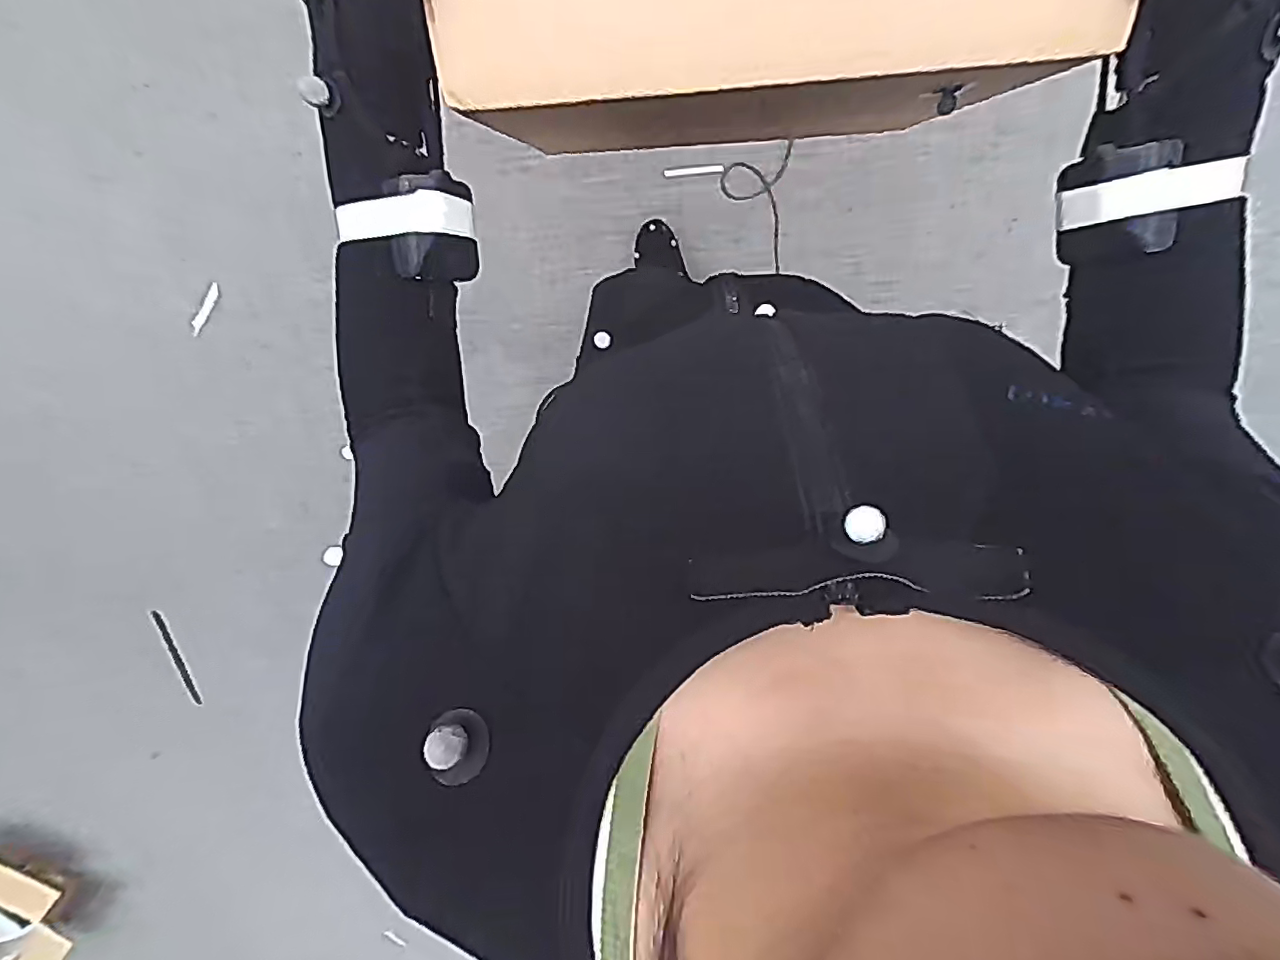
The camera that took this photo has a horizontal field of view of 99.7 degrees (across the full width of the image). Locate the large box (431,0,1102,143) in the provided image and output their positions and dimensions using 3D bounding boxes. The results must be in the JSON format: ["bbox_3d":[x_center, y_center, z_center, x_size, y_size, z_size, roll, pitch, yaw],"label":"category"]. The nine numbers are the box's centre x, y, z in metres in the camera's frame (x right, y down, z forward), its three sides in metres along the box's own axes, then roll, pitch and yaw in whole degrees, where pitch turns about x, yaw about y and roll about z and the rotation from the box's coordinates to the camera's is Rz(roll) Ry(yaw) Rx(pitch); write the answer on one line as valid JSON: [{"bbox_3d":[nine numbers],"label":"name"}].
[{"bbox_3d":[0.071,-0.454,0.399,0.408,0.320,0.320,-2,116,3],"label":"large box"}]
